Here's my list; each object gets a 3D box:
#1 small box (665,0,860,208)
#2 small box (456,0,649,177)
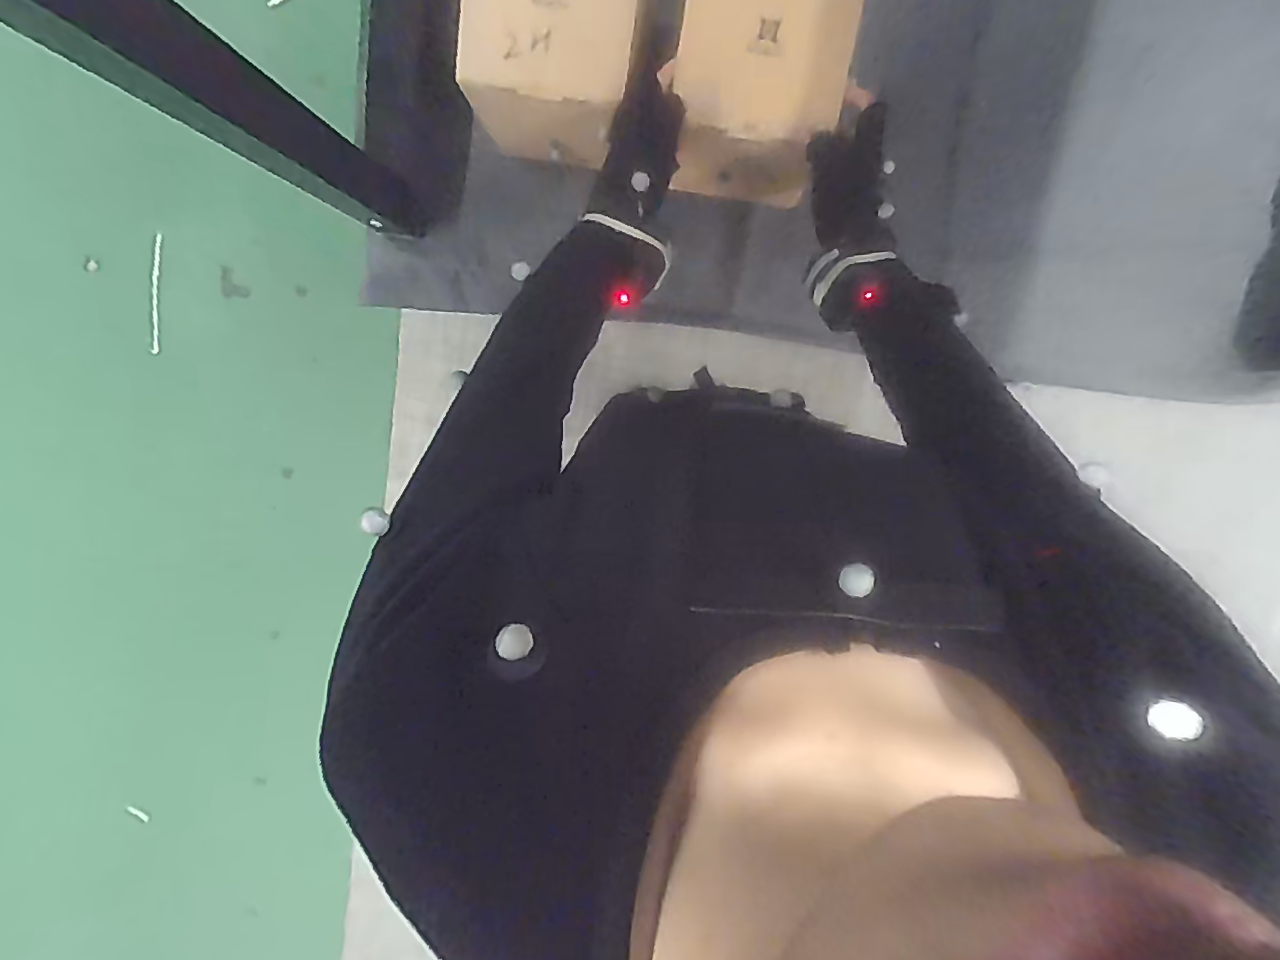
[{"bbox_3d":[0.120,-0.429,0.594,0.168,0.176,0.179,9,99,1],"label":"small box"},{"bbox_3d":[-0.084,-0.467,0.589,0.168,0.176,0.179,9,99,0],"label":"small box"}]
